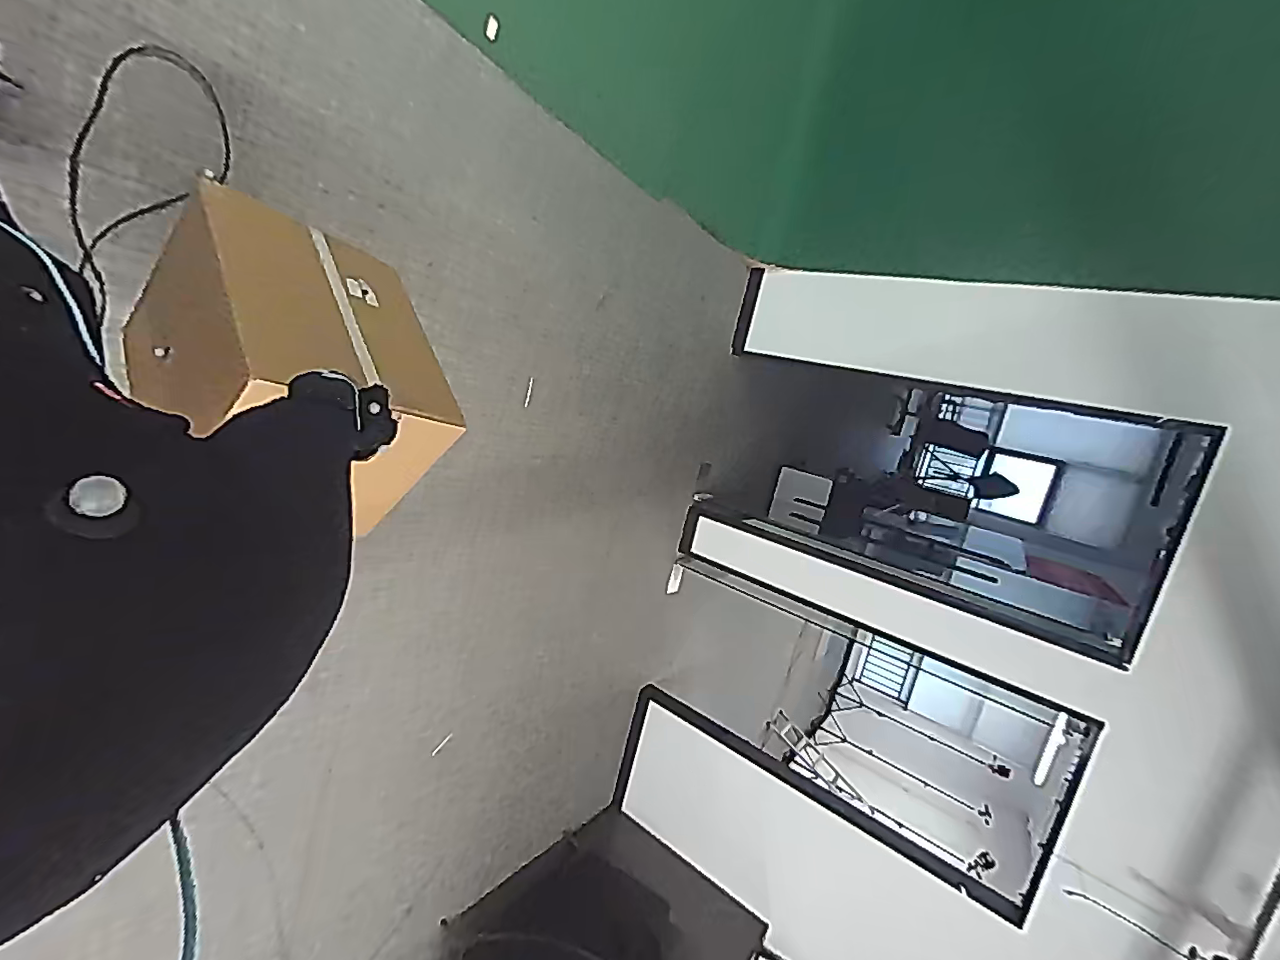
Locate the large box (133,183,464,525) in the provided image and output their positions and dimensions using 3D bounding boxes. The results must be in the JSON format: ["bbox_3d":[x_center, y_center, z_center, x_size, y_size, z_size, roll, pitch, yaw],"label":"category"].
[{"bbox_3d":[-0.566,-0.171,0.890,0.320,0.408,0.320,-41,155,21],"label":"large box"}]
